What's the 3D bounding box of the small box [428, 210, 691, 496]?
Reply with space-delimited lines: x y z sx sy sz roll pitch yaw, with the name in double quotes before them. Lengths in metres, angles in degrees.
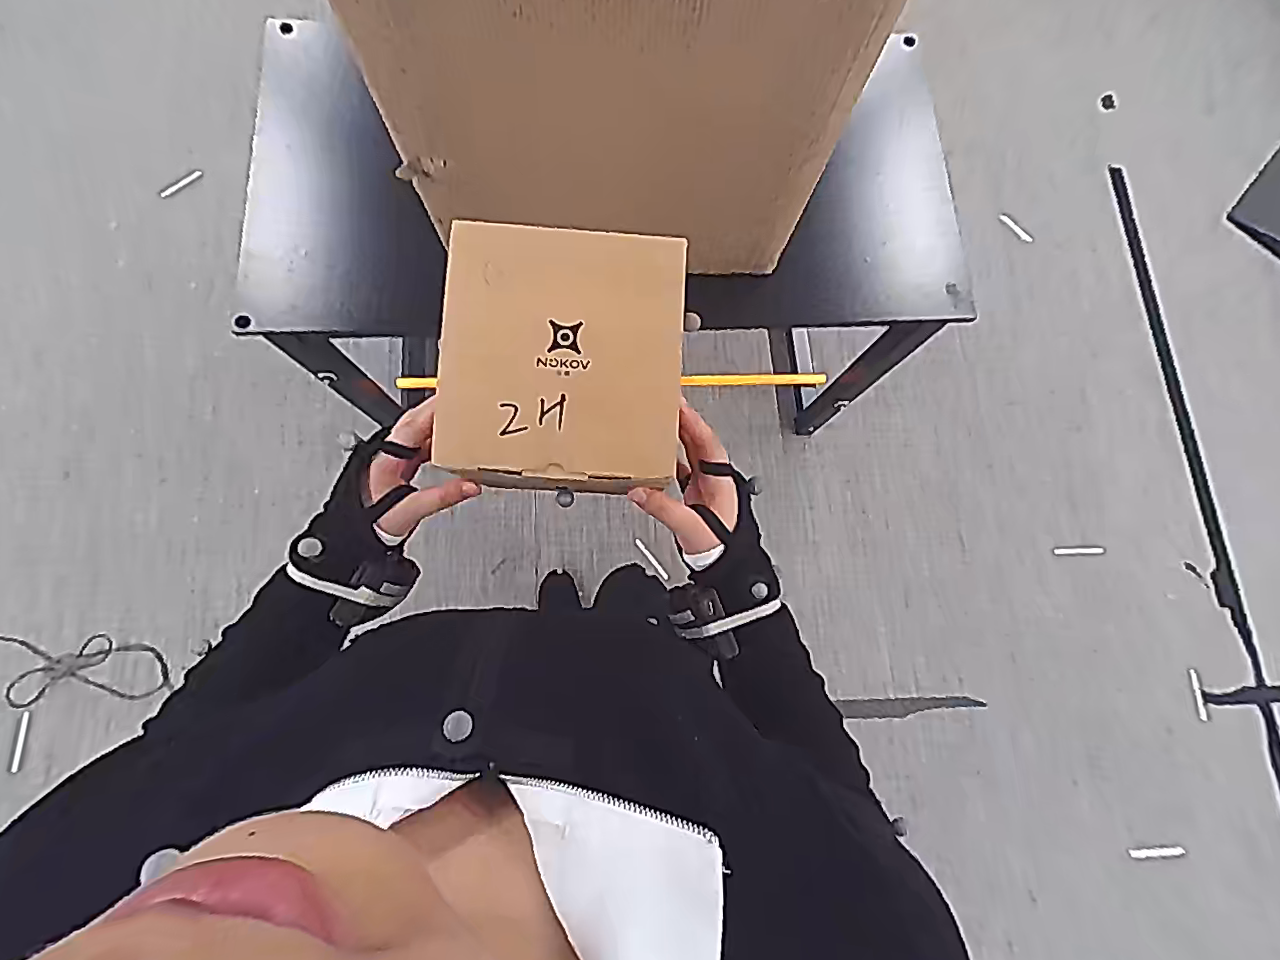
"small box" -0.056 -0.085 0.443 0.168 0.176 0.179 4 84 -3
